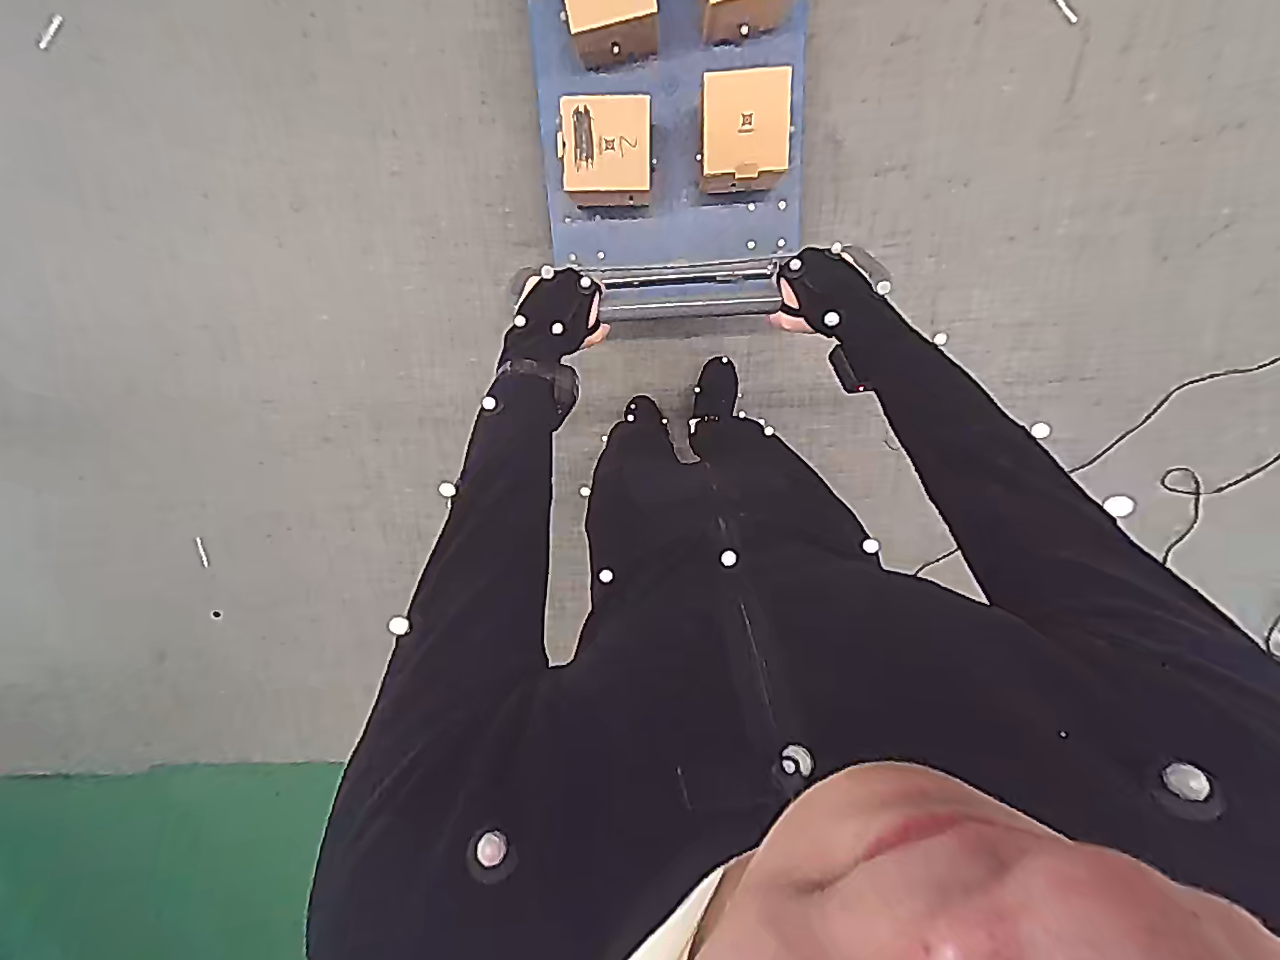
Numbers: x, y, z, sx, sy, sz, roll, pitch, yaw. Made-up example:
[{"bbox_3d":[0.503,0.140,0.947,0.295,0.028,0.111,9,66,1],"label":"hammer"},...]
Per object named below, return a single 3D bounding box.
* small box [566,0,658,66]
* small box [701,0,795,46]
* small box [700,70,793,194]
[{"bbox_3d":[-0.057,-0.942,1.050,0.168,0.176,0.179,-10,107,5],"label":"small box"},{"bbox_3d":[0.199,-0.978,1.027,0.168,0.176,0.179,-9,108,6],"label":"small box"},{"bbox_3d":[0.212,-0.706,1.115,0.168,0.176,0.179,-2,108,3],"label":"small box"}]
